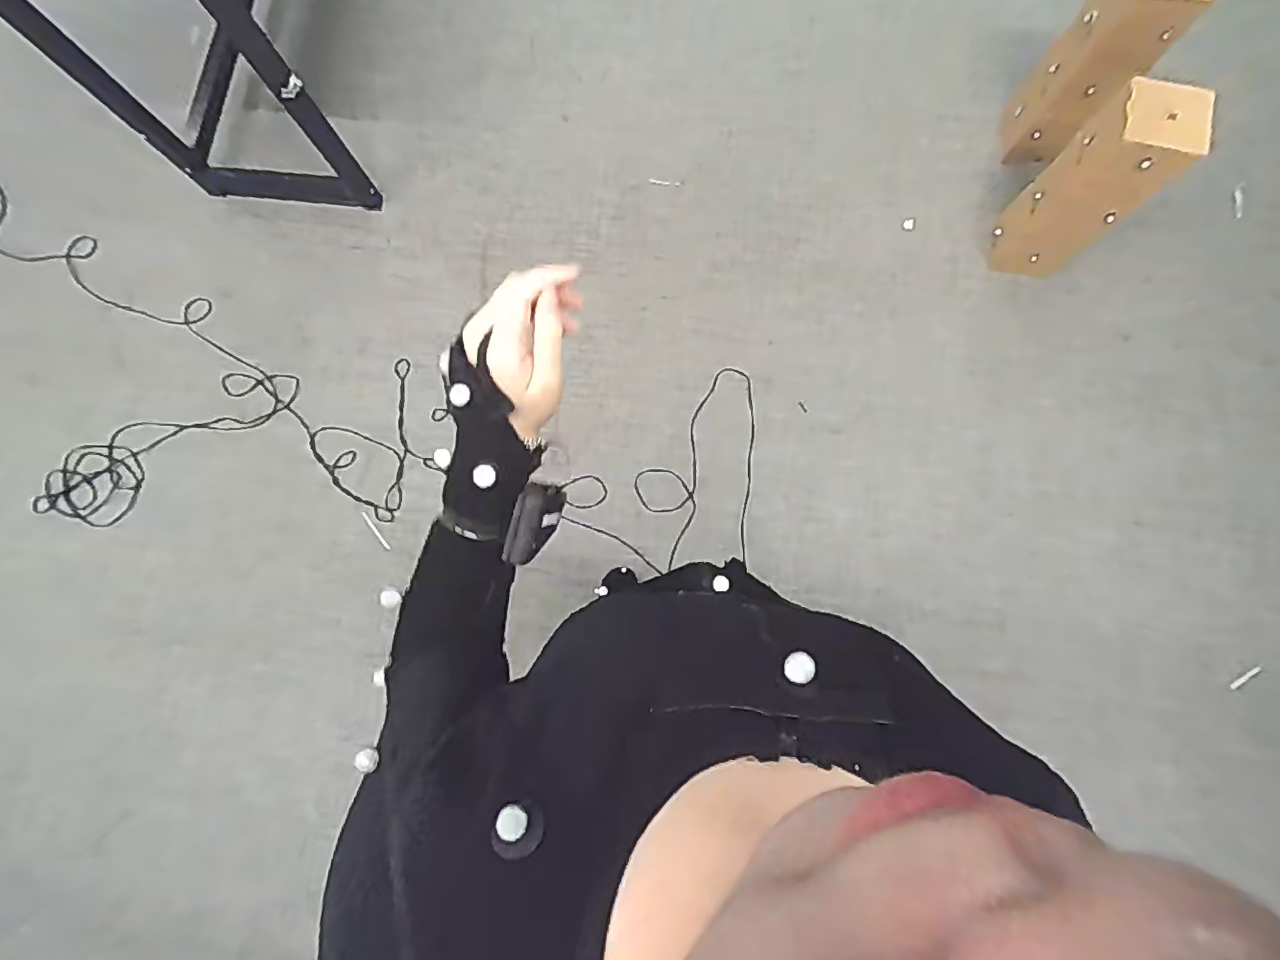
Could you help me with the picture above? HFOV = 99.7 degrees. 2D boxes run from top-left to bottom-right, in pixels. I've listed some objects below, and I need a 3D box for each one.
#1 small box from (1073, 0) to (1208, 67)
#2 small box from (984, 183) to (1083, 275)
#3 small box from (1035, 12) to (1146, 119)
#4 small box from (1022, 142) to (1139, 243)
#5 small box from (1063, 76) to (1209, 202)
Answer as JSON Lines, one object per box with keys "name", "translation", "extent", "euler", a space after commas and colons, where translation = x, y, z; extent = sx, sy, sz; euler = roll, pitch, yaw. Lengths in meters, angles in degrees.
{"name": "small box", "translation": [1.205, -1.149, 1.313], "extent": [0.179, 0.176, 0.168], "euler": [5, 79, 3]}
{"name": "small box", "translation": [1.150, -0.724, 1.575], "extent": [0.179, 0.176, 0.168], "euler": [13, 81, 4]}
{"name": "small box", "translation": [1.214, -1.123, 1.474], "extent": [0.179, 0.176, 0.168], "euler": [5, 80, 3]}
{"name": "small box", "translation": [1.149, -0.748, 1.412], "extent": [0.179, 0.176, 0.168], "euler": [11, 81, 3]}
{"name": "small box", "translation": [1.140, -0.779, 1.253], "extent": [0.179, 0.176, 0.168], "euler": [14, 81, 4]}
